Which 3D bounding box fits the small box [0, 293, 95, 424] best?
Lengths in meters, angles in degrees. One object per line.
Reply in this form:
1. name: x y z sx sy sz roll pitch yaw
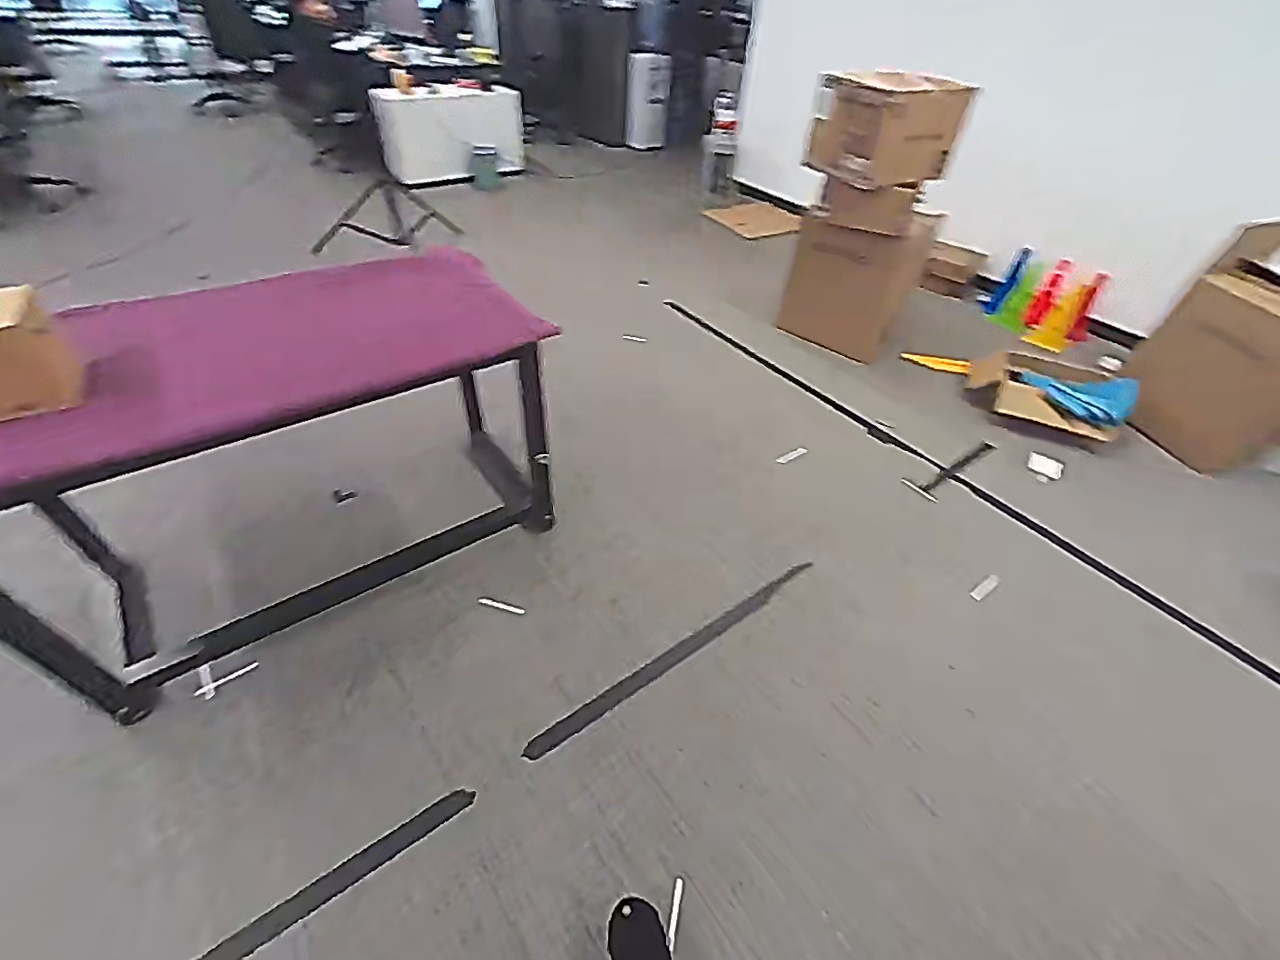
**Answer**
1. small box: -1.155 -0.216 0.989 0.168 0.176 0.179 -19 48 -24
